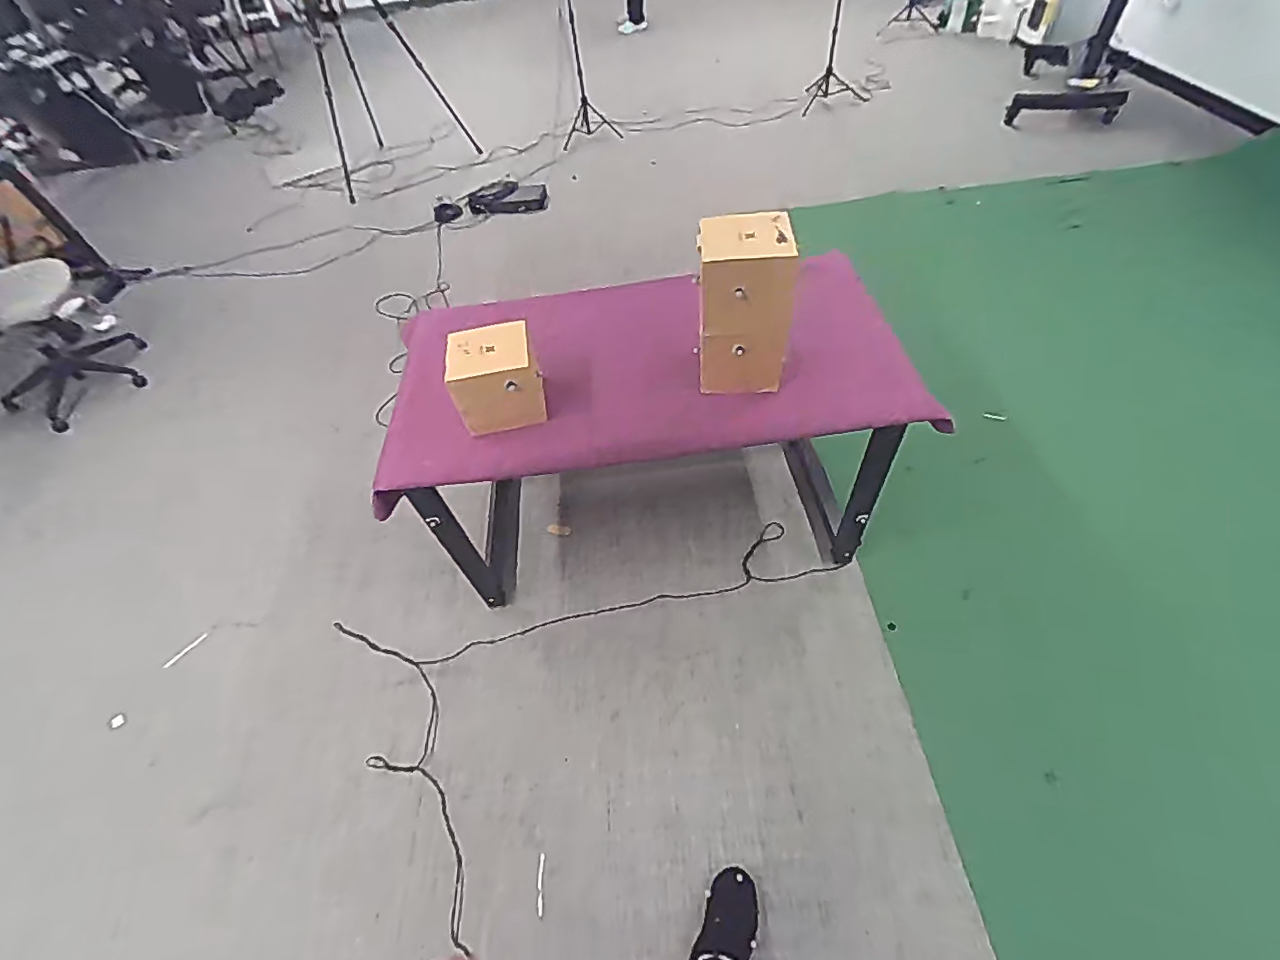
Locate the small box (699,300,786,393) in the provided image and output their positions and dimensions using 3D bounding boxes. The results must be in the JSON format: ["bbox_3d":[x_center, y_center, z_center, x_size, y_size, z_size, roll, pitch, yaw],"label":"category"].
[{"bbox_3d":[0.224,-0.308,1.204,0.179,0.176,0.168,1,53,7],"label":"small box"}]

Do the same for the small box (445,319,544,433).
[{"bbox_3d":[-0.316,-0.227,1.204,0.179,0.176,0.168,-11,52,-2],"label":"small box"}]

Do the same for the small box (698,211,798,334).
[{"bbox_3d":[0.208,-0.407,1.075,0.179,0.176,0.168,-2,53,7],"label":"small box"}]
